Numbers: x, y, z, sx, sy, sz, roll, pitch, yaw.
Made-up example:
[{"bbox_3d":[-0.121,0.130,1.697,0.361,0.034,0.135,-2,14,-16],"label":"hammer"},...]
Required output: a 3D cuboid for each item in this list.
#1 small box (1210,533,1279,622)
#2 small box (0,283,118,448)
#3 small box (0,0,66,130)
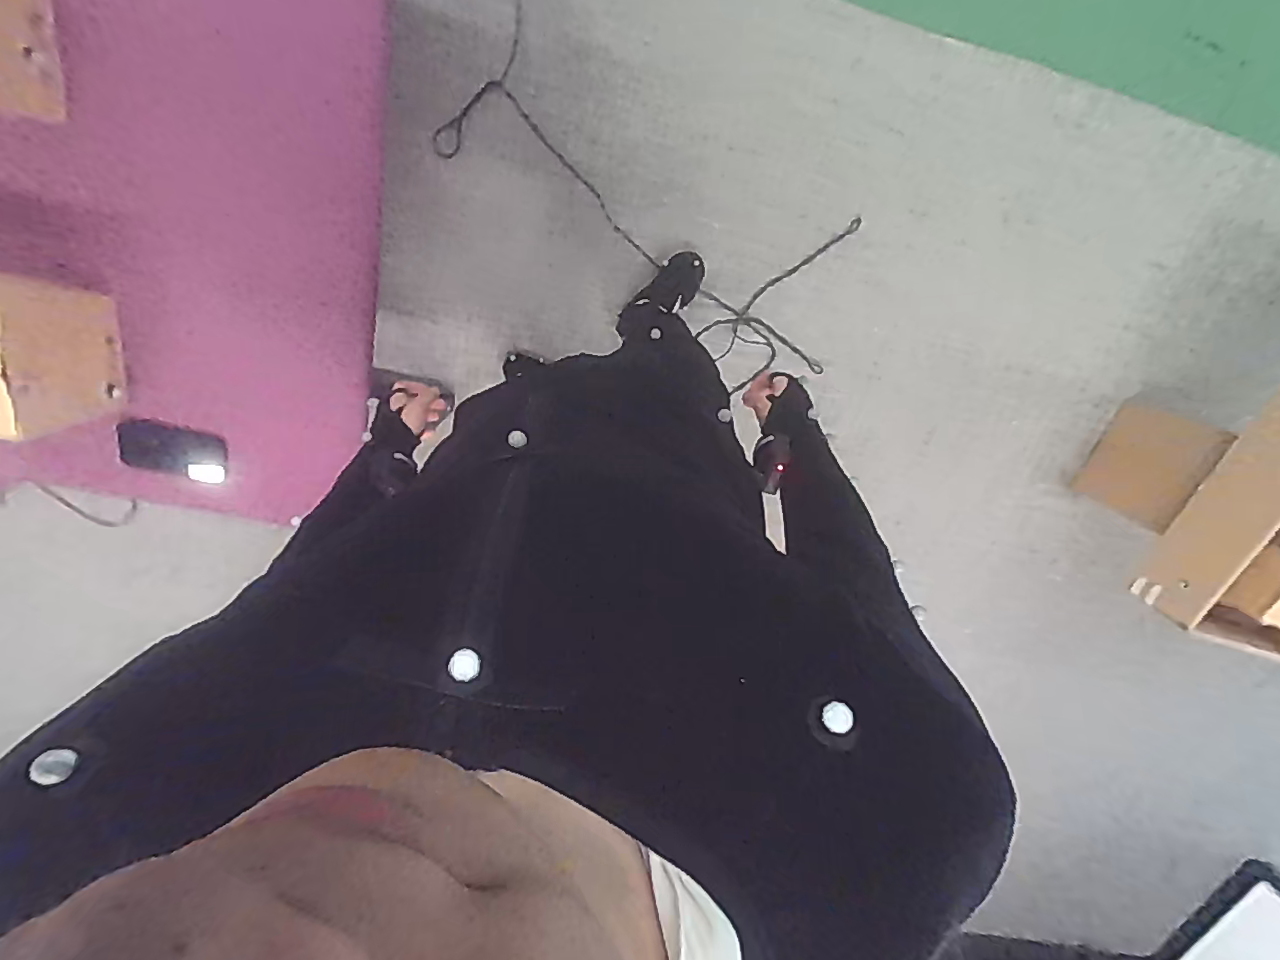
[{"bbox_3d":[1.577,0.250,1.309,0.179,0.176,0.168,18,110,-8],"label":"small box"},{"bbox_3d":[-0.837,-0.158,0.704,0.179,0.176,0.168,10,111,-6],"label":"small box"},{"bbox_3d":[-0.787,-0.495,0.570,0.179,0.176,0.168,10,112,-7],"label":"small box"}]
